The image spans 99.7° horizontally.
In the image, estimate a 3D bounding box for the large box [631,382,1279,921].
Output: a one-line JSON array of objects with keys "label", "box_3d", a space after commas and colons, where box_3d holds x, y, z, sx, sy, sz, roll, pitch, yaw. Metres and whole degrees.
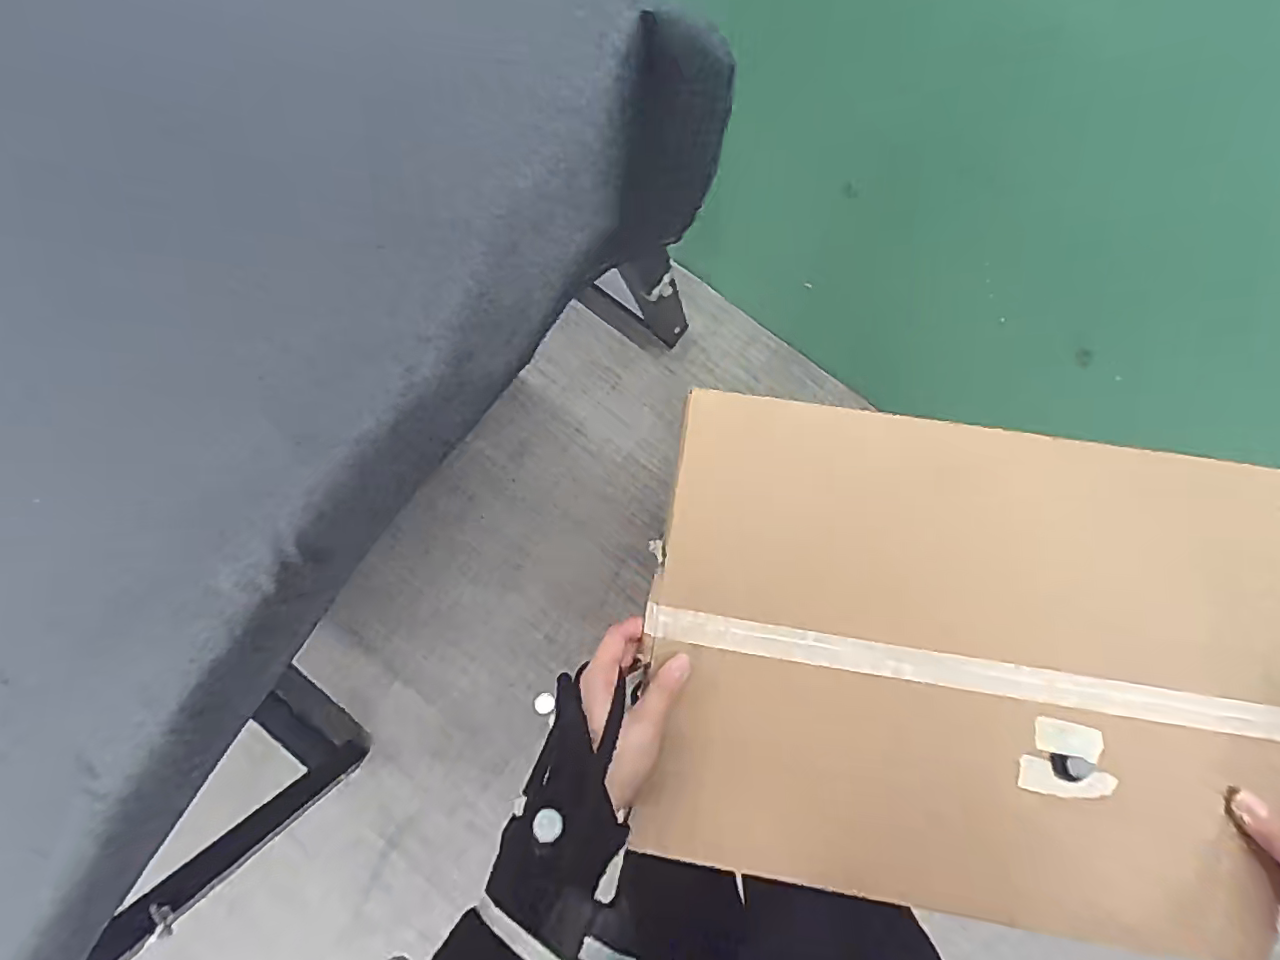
[{"label": "large box", "box_3d": [0.212, 0.111, 0.504, 0.408, 0.320, 0.320, 8, 90, 3]}]
